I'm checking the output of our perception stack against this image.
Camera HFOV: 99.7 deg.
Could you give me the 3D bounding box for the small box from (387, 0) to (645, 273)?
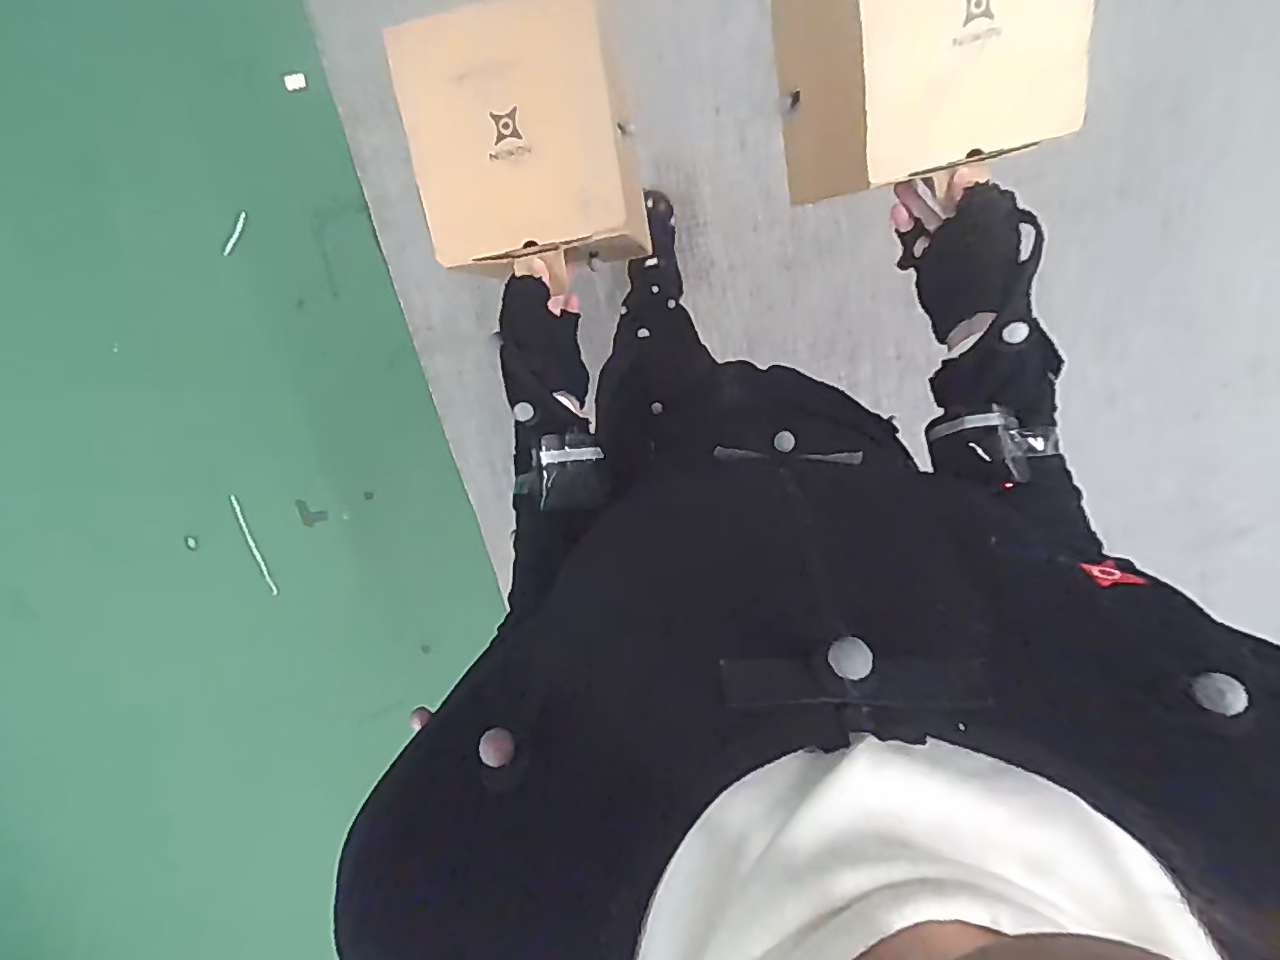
[{"bbox_3d":[-0.095,-0.299,0.506,0.168,0.176,0.179,-8,105,10],"label":"small box"}]
